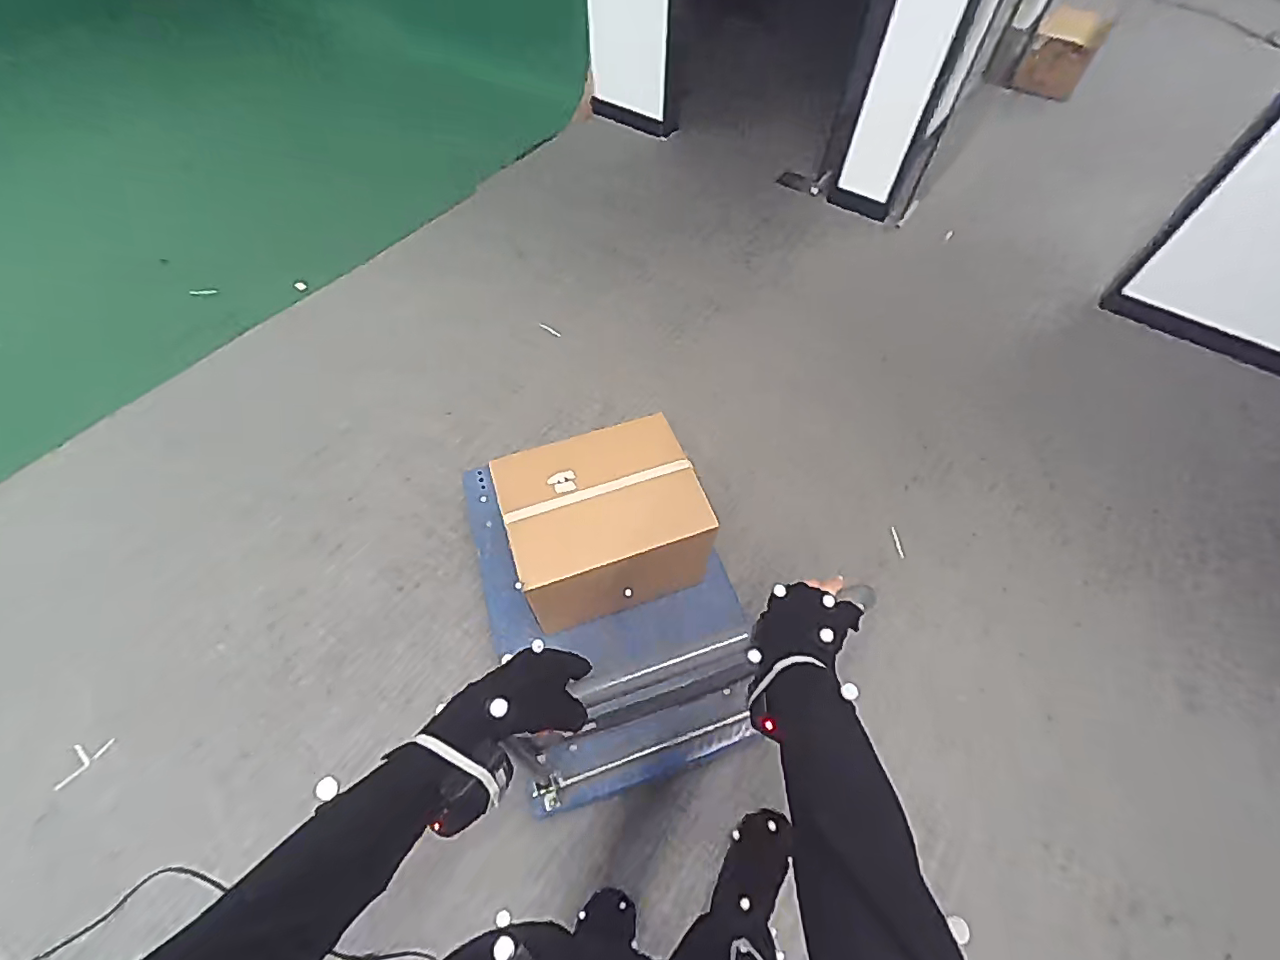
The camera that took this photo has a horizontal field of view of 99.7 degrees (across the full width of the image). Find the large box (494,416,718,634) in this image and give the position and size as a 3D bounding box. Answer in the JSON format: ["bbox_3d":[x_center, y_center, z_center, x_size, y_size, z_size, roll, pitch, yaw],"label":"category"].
[{"bbox_3d":[-0.077,0.110,1.252,0.408,0.320,0.320,-18,60,-11],"label":"large box"}]
